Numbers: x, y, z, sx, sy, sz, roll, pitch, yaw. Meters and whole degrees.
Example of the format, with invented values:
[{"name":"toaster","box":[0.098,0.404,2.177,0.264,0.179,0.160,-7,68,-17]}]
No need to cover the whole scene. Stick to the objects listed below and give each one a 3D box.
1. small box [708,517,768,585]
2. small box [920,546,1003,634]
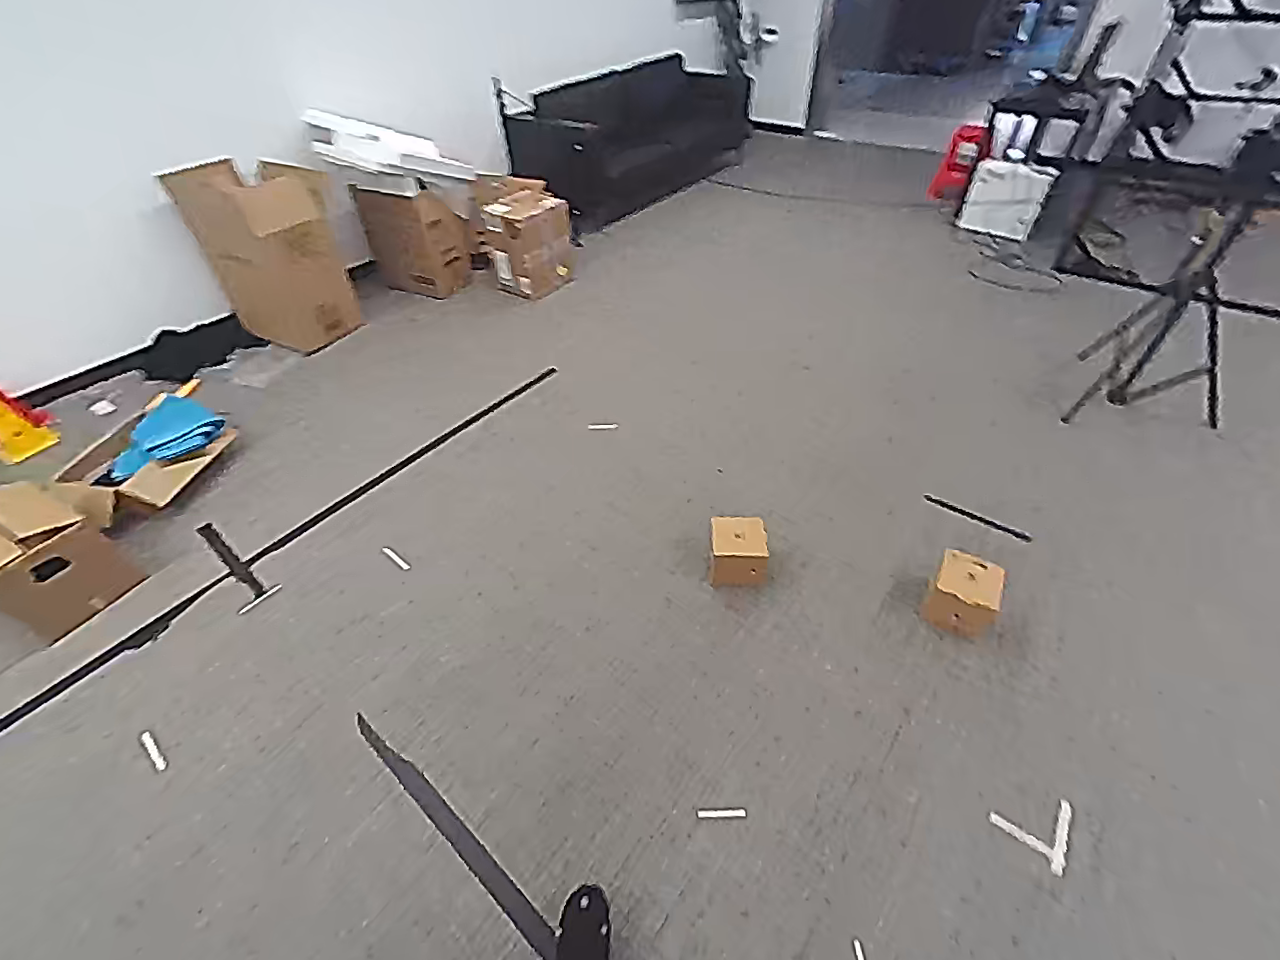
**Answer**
[{"name":"small box","box":[0.323,0.240,1.814,0.179,0.176,0.168,-1,43,4]},{"name":"small box","box":[0.985,0.342,1.665,0.168,0.176,0.179,22,50,23]}]
